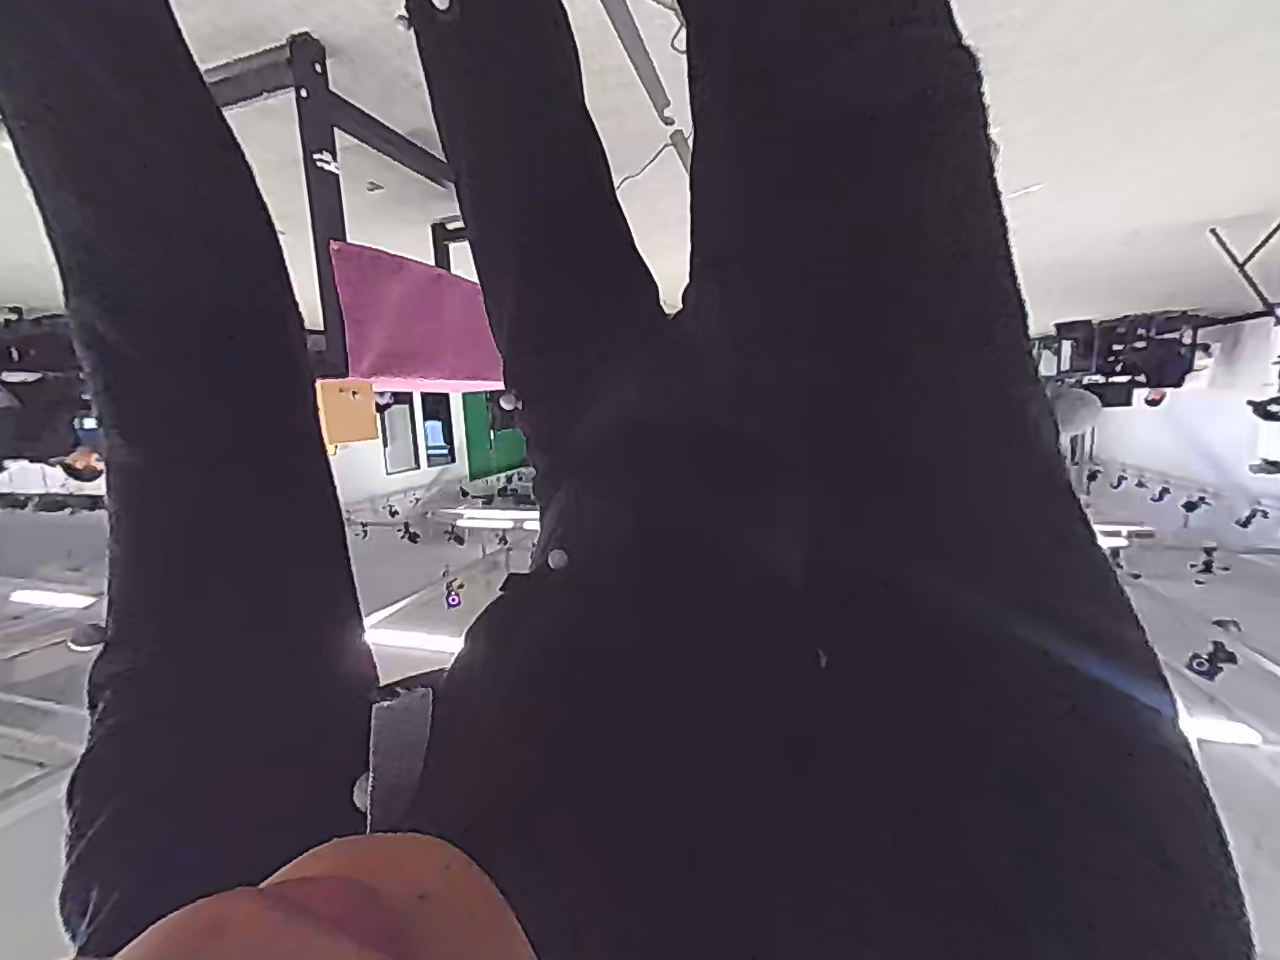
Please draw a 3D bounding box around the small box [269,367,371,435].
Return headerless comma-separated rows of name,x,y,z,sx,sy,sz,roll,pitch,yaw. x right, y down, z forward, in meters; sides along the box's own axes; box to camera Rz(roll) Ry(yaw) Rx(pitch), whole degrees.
small box,-0.860,-0.213,1.452,0.179,0.176,0.168,1,-168,20
